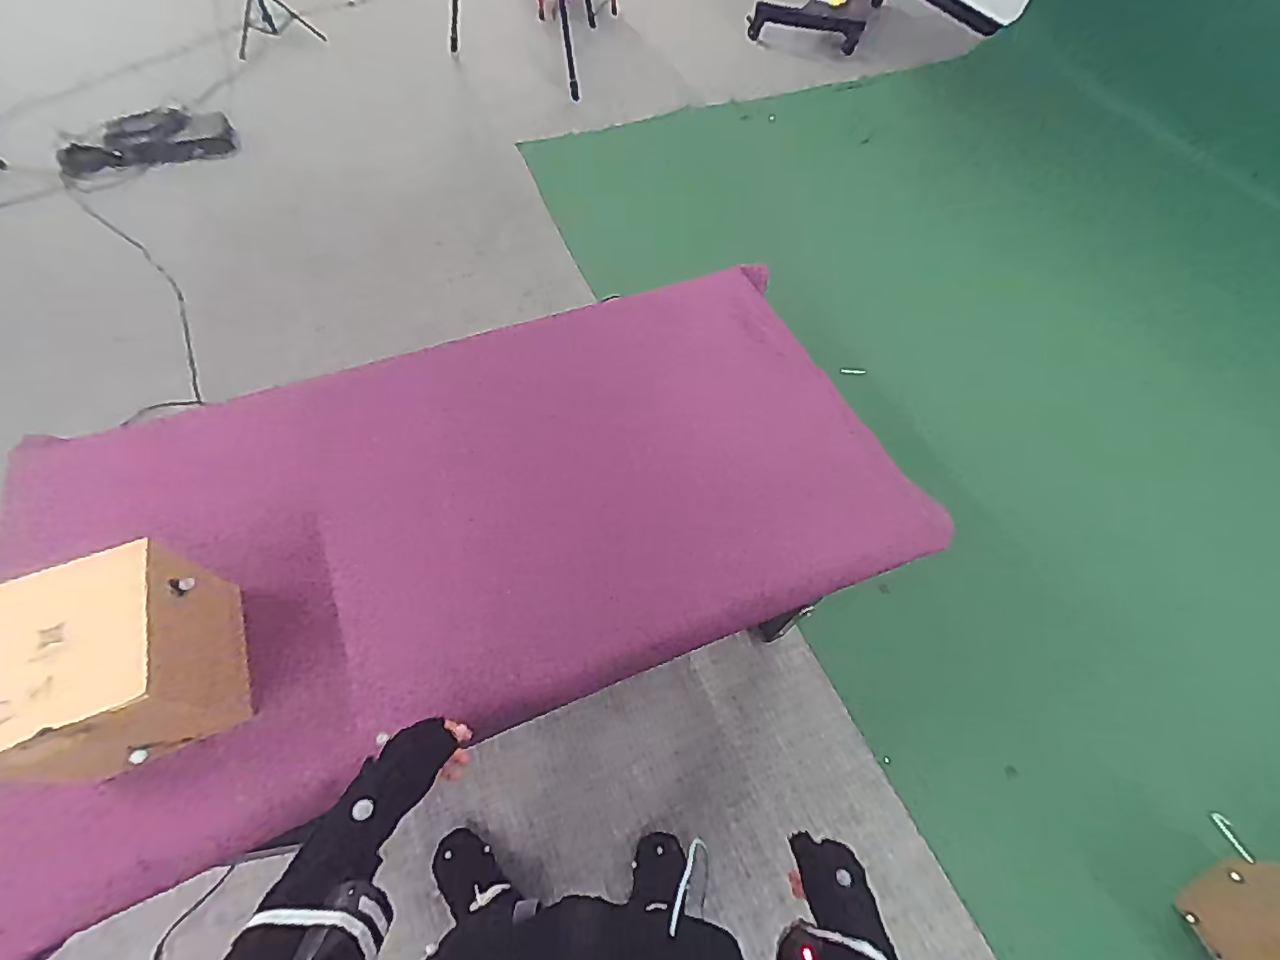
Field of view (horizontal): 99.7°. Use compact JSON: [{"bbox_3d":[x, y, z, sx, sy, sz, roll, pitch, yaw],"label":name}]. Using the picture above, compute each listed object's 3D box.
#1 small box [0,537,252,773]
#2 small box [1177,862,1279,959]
[{"bbox_3d":[-0.560,0.194,0.588,0.168,0.176,0.179,-20,63,-14],"label":"small box"},{"bbox_3d":[1.267,0.910,1.097,0.179,0.176,0.168,-20,63,-14],"label":"small box"}]
